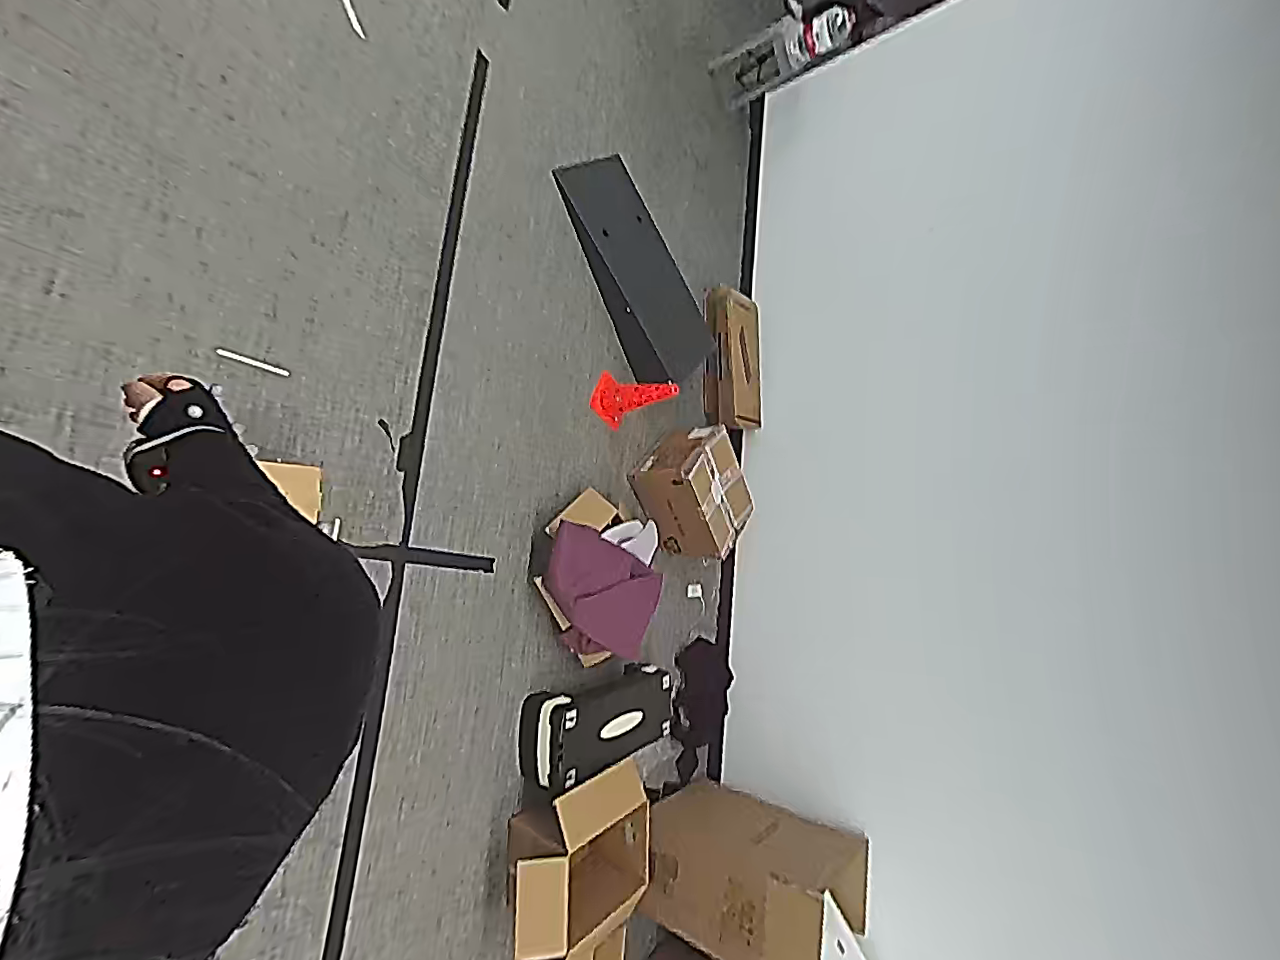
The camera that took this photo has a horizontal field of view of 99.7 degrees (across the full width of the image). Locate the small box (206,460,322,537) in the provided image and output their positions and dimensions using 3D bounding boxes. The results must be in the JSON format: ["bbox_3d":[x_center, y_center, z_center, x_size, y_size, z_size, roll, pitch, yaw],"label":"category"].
[{"bbox_3d":[-0.878,0.047,1.263,0.179,0.176,0.168,8,81,-50],"label":"small box"}]
